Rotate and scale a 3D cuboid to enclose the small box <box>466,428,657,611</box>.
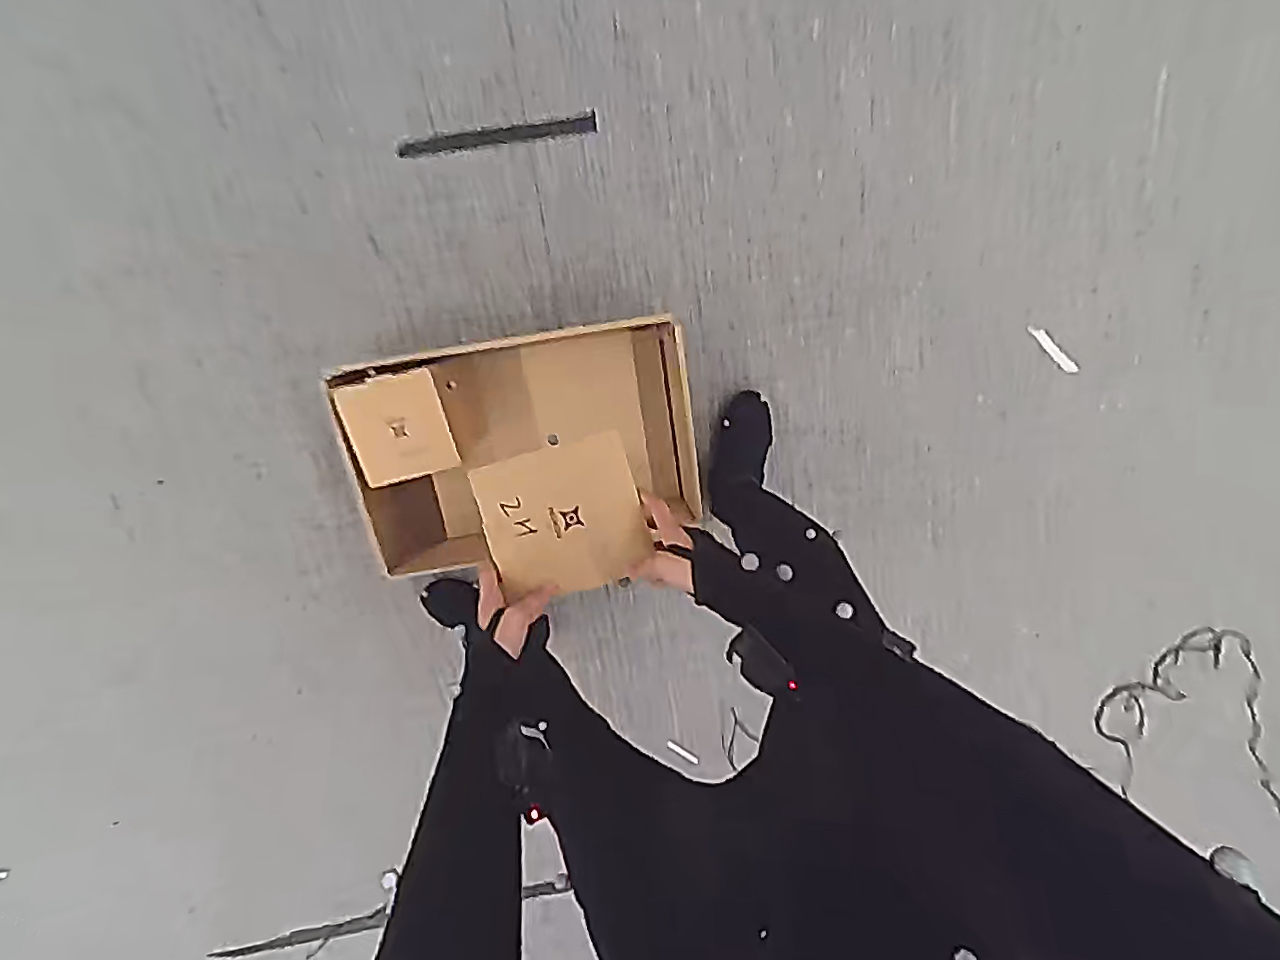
[{"bbox_3d":[-0.090,0.041,0.674,0.179,0.176,0.168,-17,91,-2],"label":"small box"}]
